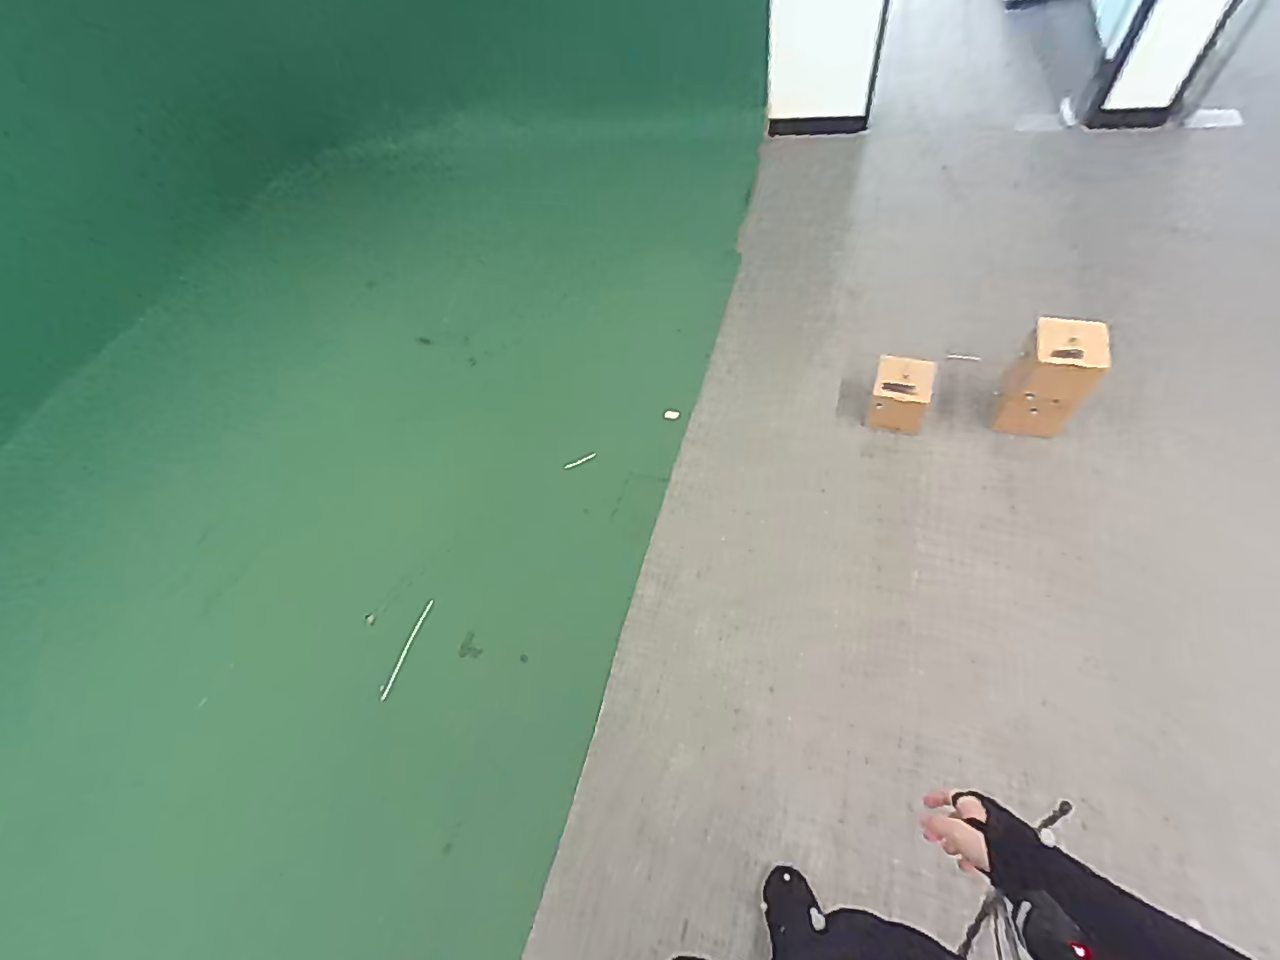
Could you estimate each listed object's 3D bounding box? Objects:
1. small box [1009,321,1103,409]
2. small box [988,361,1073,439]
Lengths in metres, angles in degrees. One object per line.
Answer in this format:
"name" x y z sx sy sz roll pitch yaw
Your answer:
"small box" 1.187 -0.327 1.553 0.168 0.176 0.179 12 62 18
"small box" 1.214 -0.247 1.694 0.179 0.176 0.168 11 62 17
